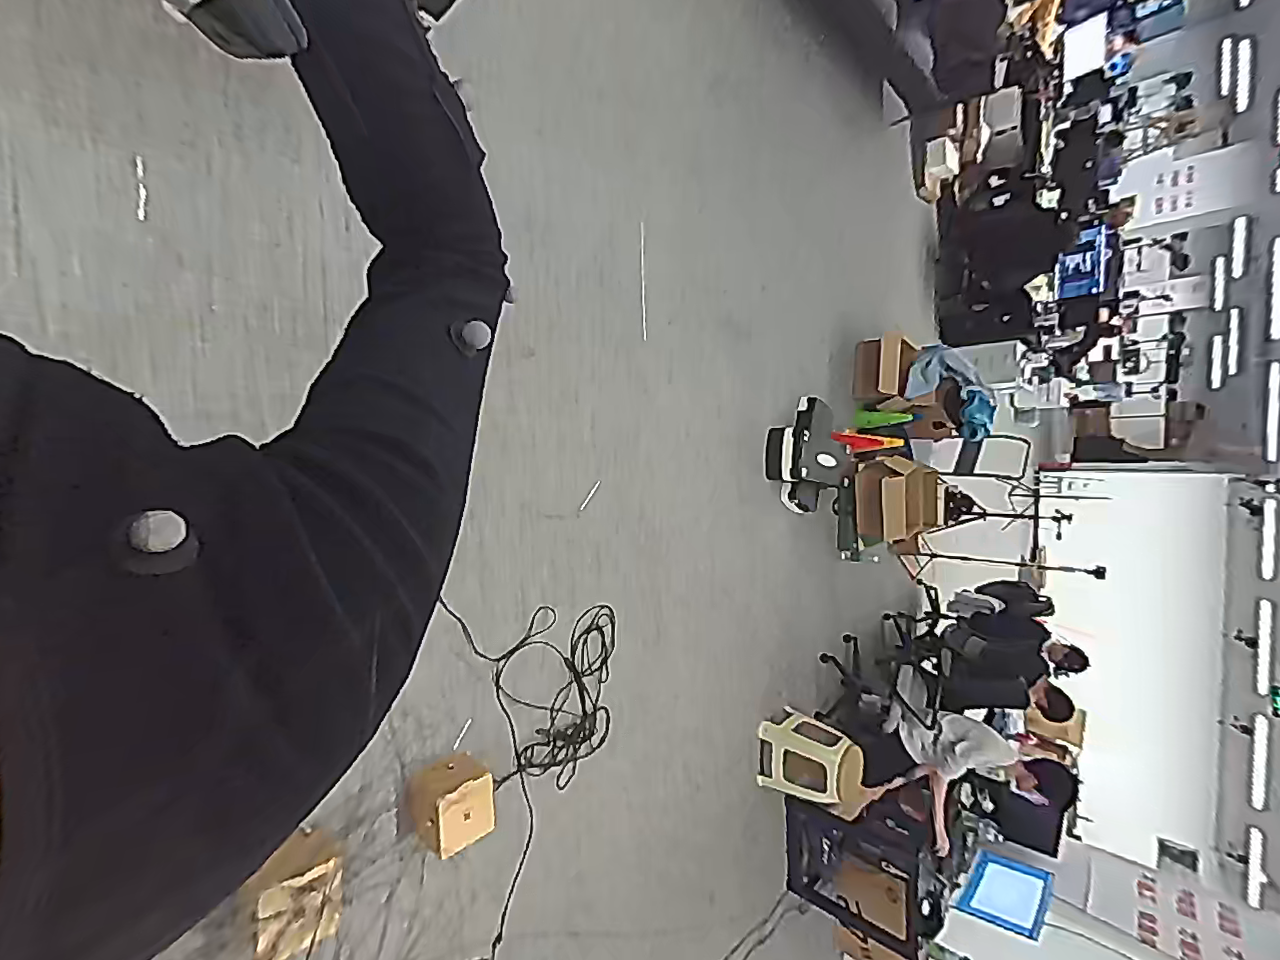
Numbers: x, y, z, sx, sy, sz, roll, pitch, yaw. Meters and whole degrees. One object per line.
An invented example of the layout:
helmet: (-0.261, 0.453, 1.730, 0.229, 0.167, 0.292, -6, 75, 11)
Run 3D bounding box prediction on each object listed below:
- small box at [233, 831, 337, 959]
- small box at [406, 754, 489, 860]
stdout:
small box: (-0.823, 0.954, 1.251, 0.168, 0.176, 0.179, 2, 90, -48)
small box: (-0.552, 0.925, 1.548, 0.168, 0.176, 0.179, -5, 95, -48)
